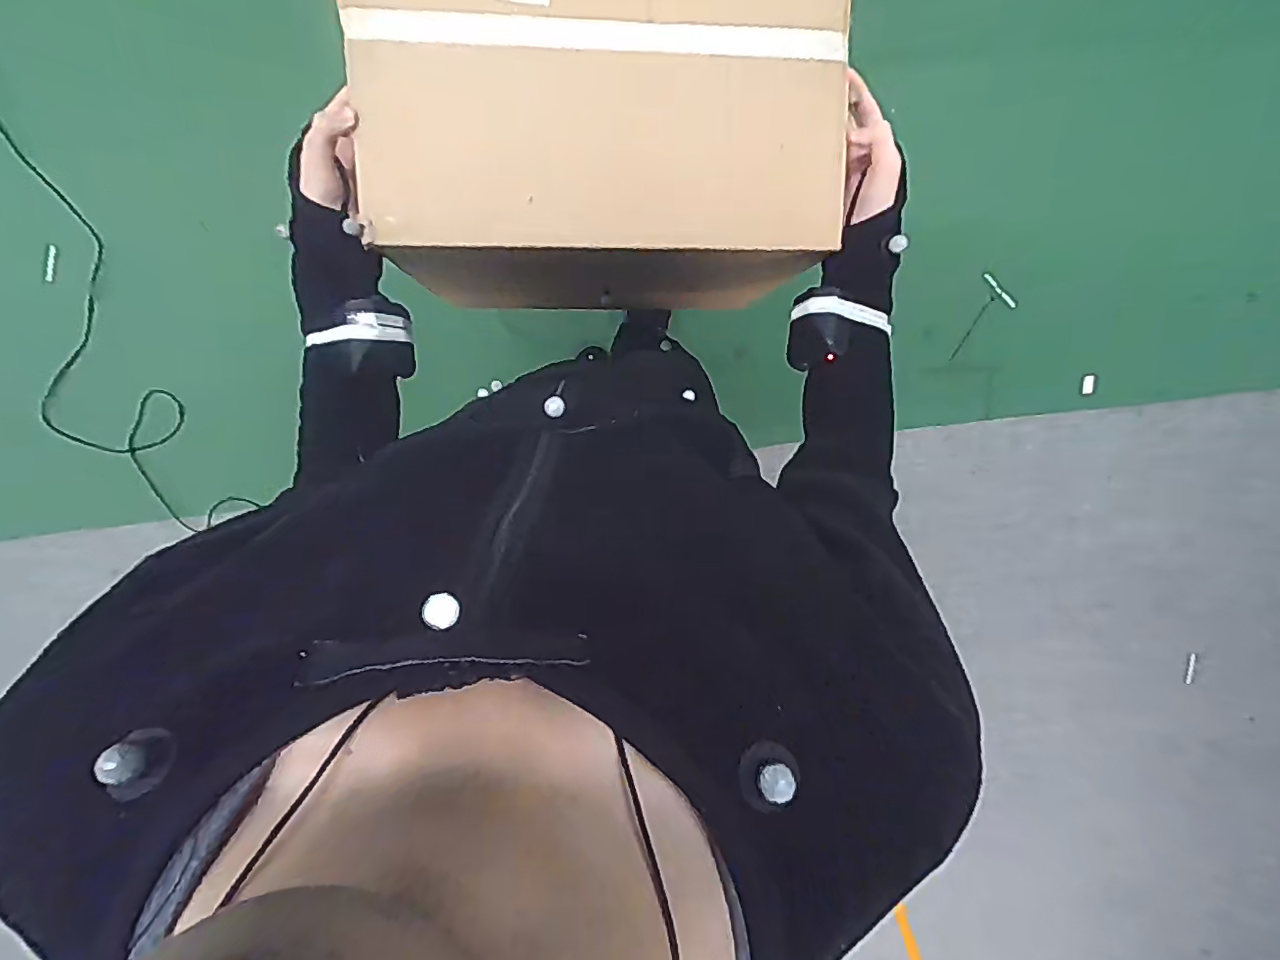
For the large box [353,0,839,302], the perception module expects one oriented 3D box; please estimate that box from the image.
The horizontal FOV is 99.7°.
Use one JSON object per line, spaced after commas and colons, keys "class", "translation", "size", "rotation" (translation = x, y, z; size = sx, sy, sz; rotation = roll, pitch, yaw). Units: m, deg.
{"class": "large box", "translation": [-0.040, -0.378, 0.592], "size": [0.408, 0.320, 0.320], "rotation": [-2, 98, -5]}
